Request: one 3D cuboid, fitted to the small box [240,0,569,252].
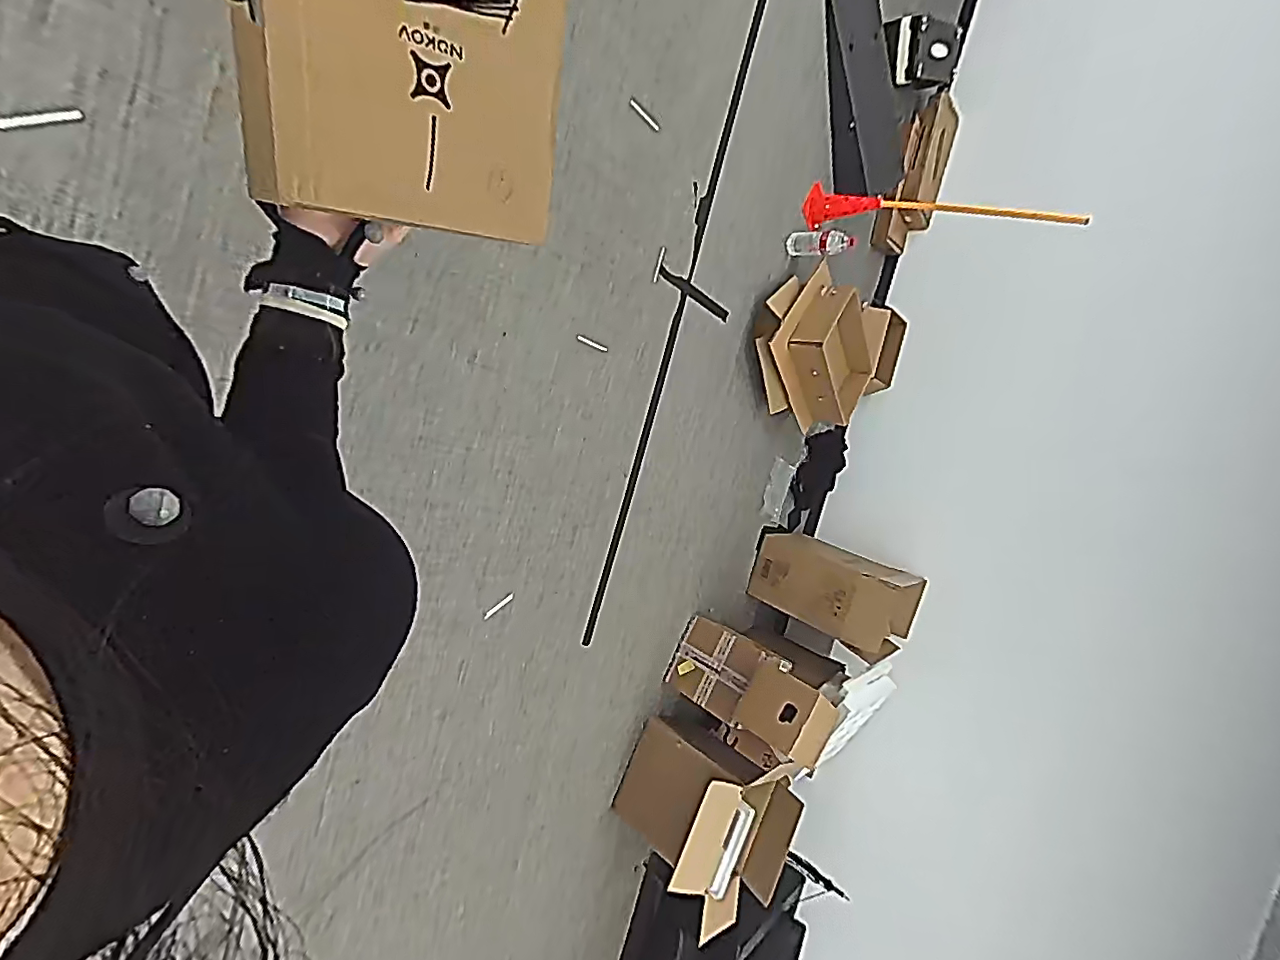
[{"bbox_3d":[-0.169,-0.271,0.380,0.168,0.176,0.179,-8,118,-38],"label":"small box"}]
